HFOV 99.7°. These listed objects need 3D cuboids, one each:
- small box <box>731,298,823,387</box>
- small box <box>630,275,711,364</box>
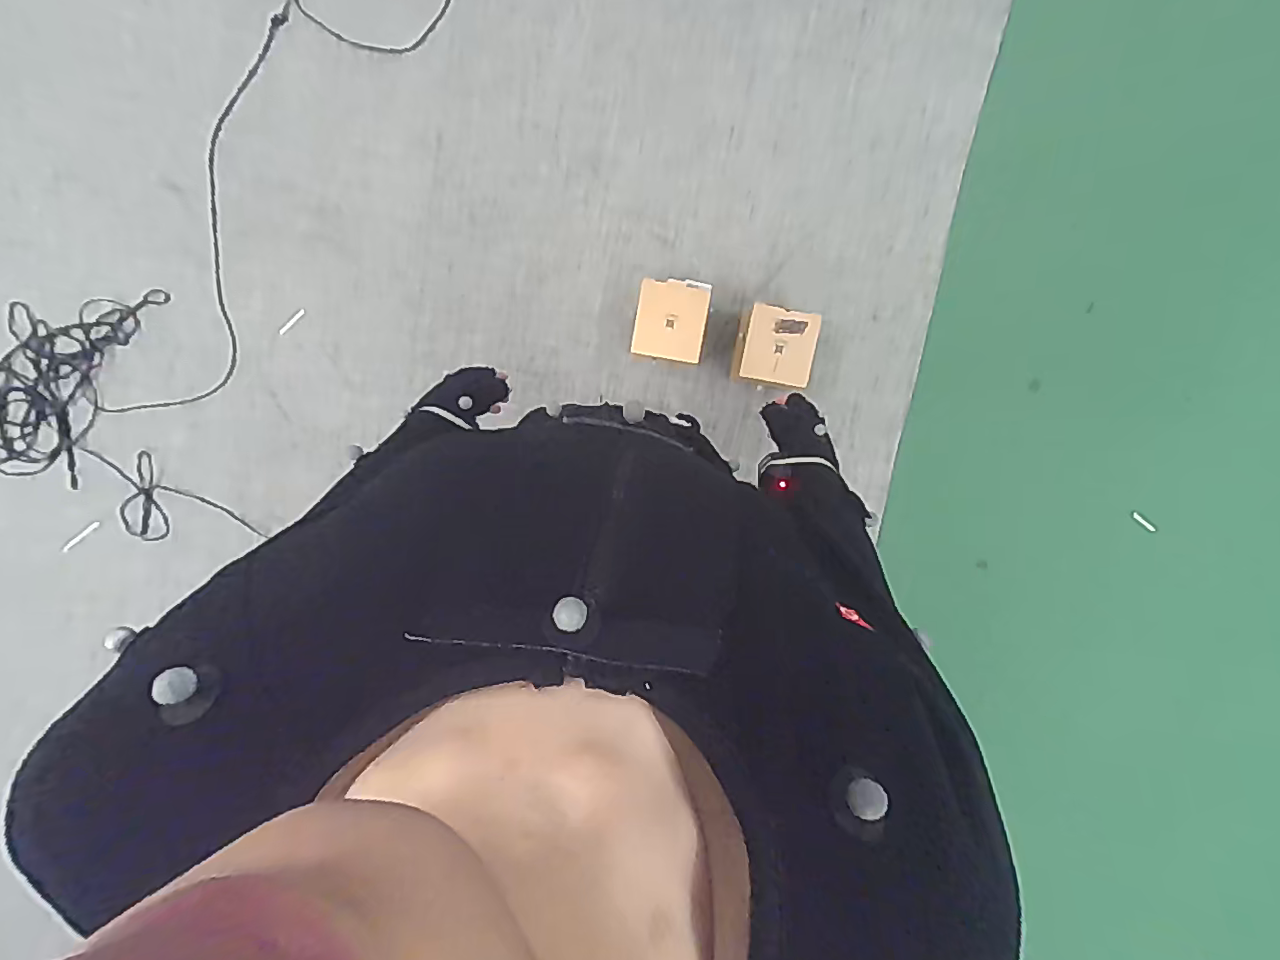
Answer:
[{"bbox_3d":[0.331,-0.334,1.344,0.168,0.176,0.179,10,99,0],"label":"small box"},{"bbox_3d":[0.074,-0.389,1.342,0.168,0.176,0.179,9,97,0],"label":"small box"}]
